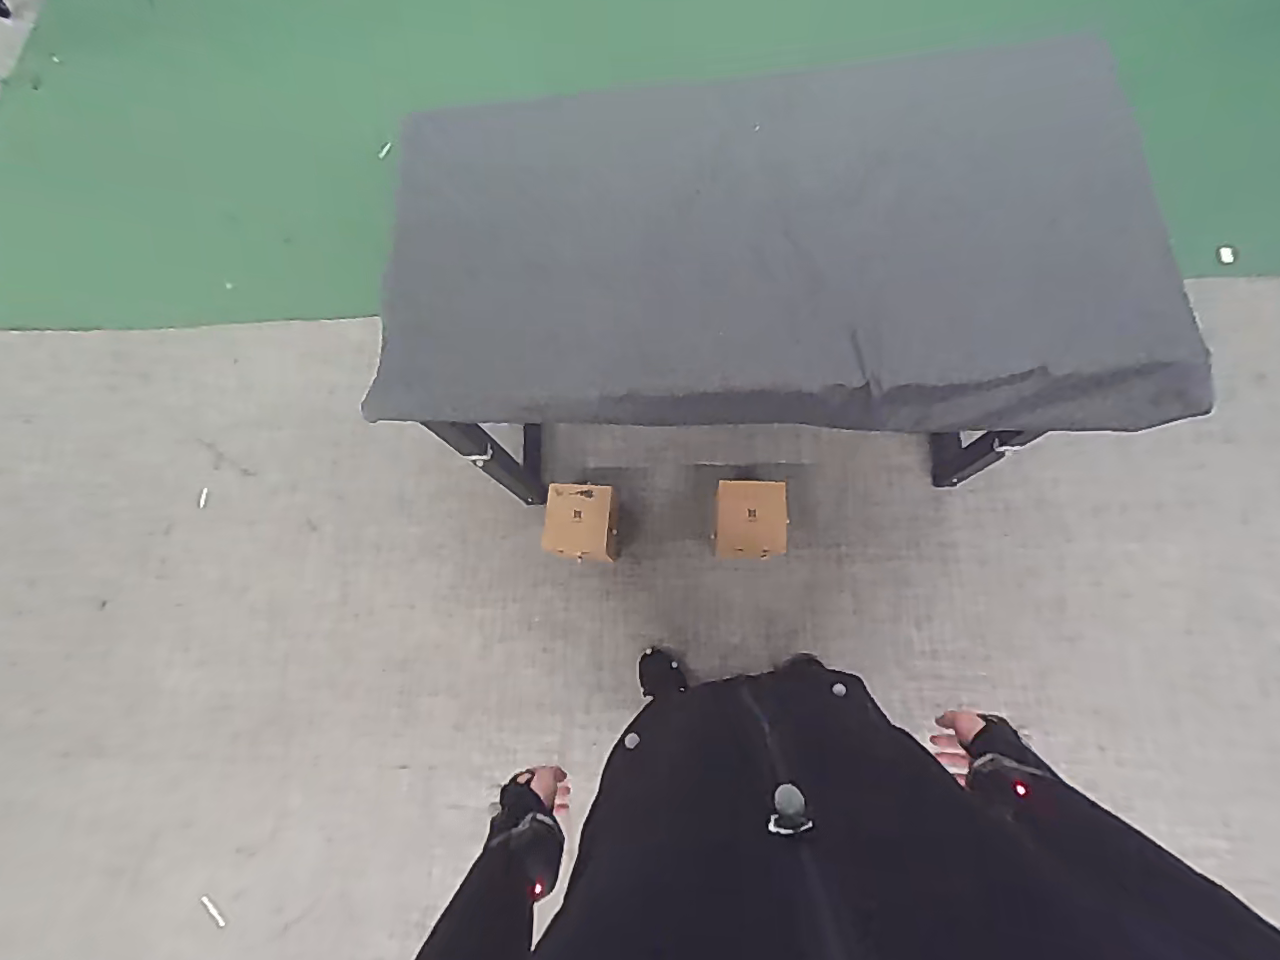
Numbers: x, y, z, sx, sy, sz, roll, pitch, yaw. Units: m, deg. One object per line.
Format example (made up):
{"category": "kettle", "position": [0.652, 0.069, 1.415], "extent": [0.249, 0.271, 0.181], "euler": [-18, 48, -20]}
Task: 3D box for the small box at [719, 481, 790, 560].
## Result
{"category": "small box", "position": [0.291, 0.109, 1.396], "extent": [0.168, 0.176, 0.179], "euler": [1, 72, 6]}
